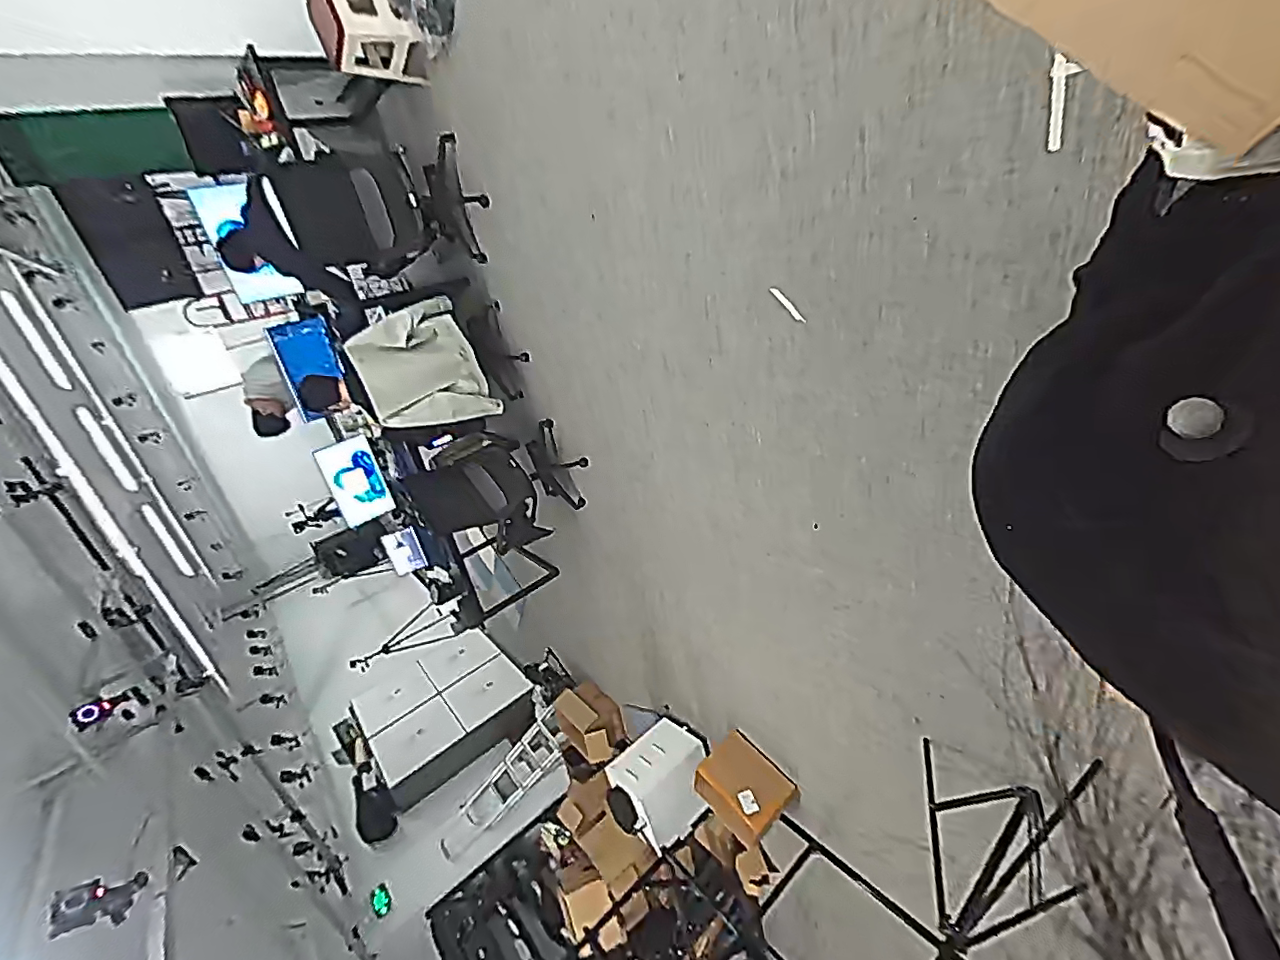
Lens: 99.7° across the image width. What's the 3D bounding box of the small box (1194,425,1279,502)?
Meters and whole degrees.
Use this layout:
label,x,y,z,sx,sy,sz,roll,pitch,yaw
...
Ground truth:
label,x,y,z,sx,sy,sz,roll,pitch,yaw
small box,0.700,0.058,0.578,0.168,0.176,0.179,22,132,46
